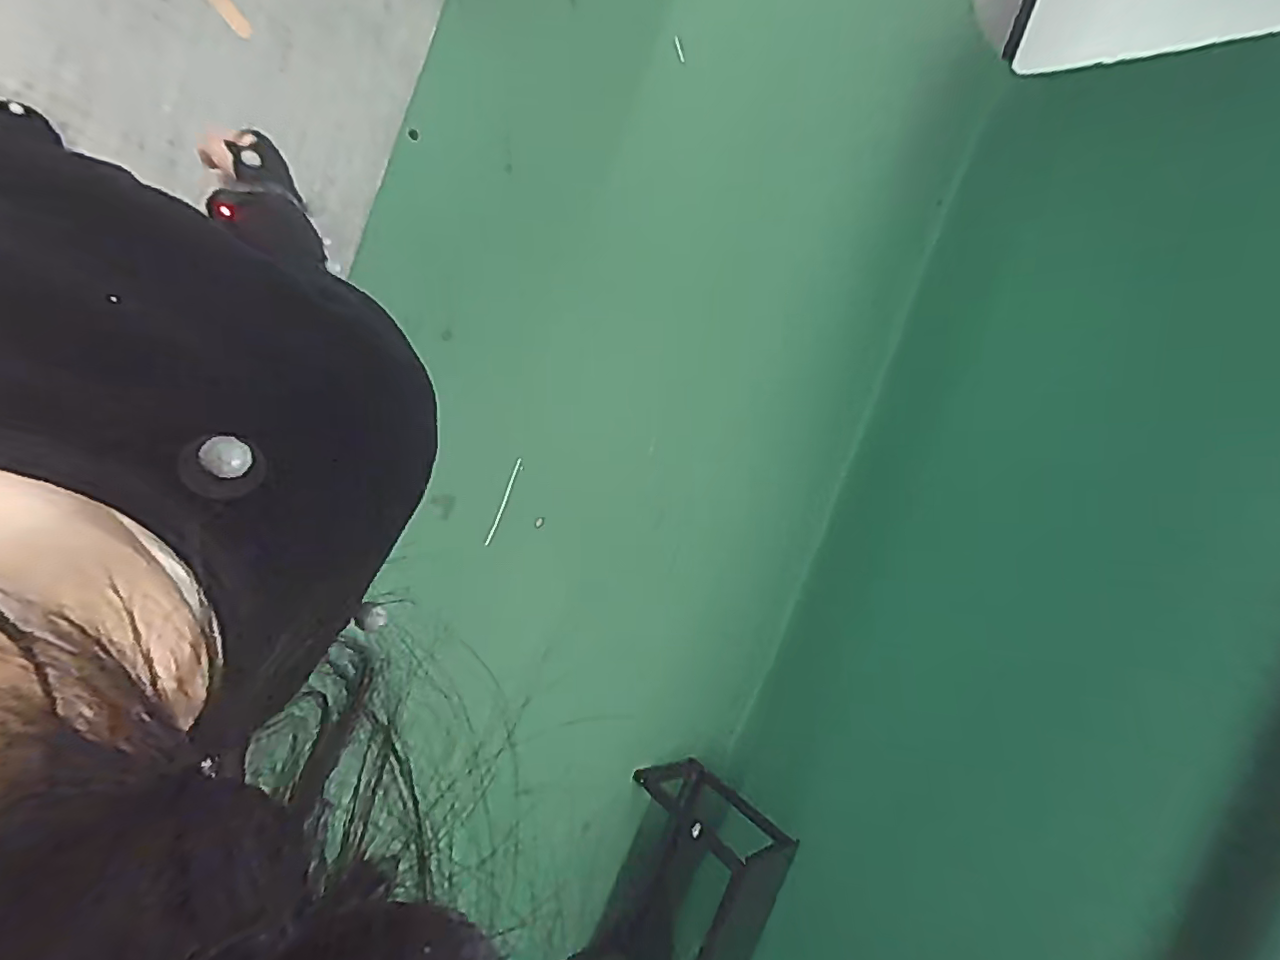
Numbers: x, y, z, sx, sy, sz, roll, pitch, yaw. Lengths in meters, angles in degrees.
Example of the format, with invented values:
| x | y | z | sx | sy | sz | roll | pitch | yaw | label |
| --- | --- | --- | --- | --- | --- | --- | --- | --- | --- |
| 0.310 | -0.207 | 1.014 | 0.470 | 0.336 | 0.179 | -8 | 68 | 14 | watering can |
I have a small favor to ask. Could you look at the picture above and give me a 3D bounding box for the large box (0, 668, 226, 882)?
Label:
| x | y | z | sx | sy | sz | roll | pitch | yaw | label |
| --- | --- | --- | --- | --- | --- | --- | --- | --- | --- |
| -1.165 | 0.660 | 1.153 | 0.408 | 0.320 | 0.320 | -2 | 110 | -46 | large box |
